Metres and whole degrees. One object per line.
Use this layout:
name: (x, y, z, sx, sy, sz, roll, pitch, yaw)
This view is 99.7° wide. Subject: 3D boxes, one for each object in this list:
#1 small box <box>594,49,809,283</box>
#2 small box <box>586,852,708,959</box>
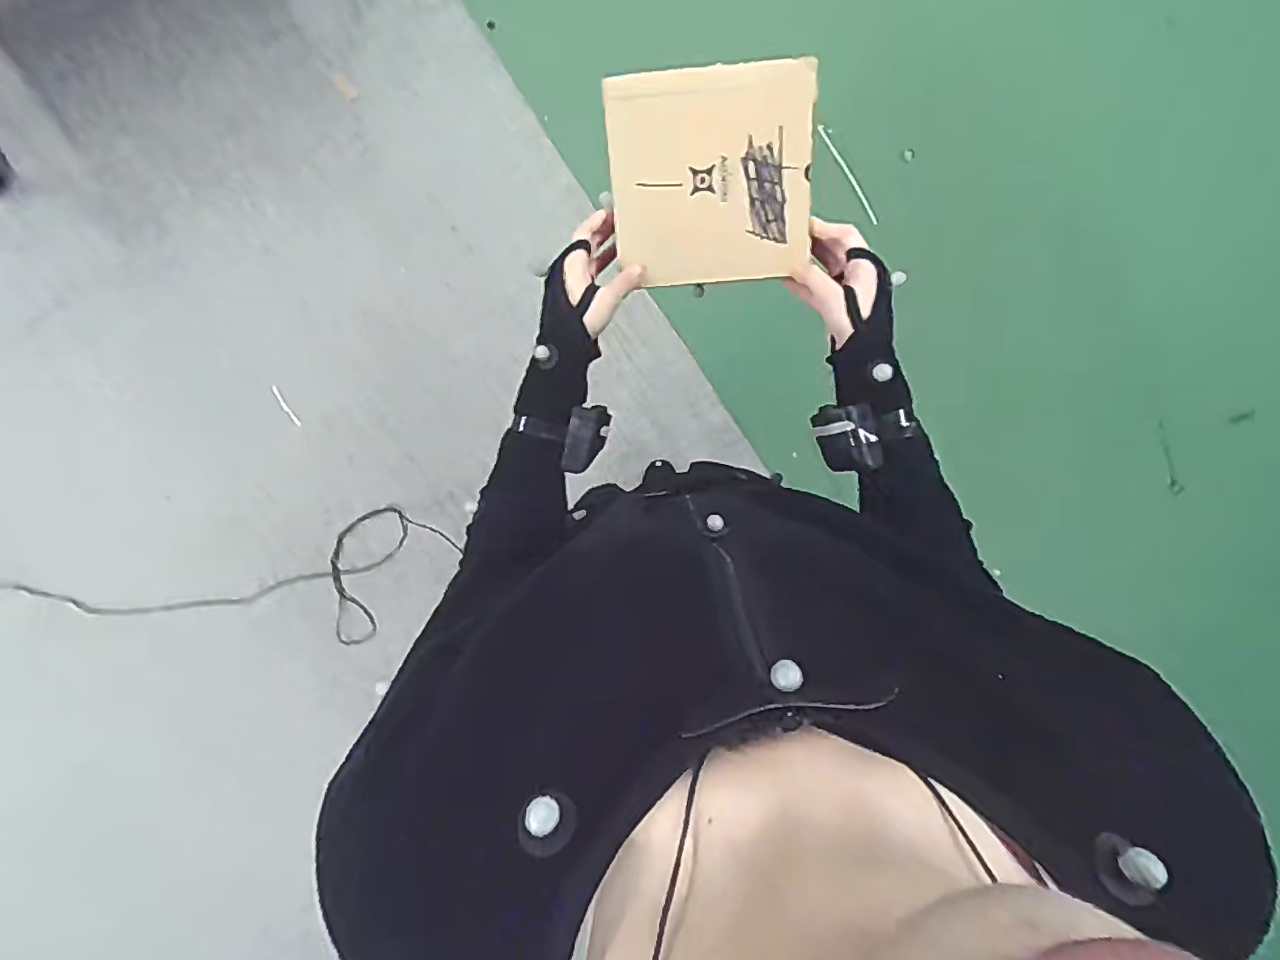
small box: (0.054, -0.290, 0.533, 0.179, 0.176, 0.168, -4, 111, 3)
small box: (0.017, 0.864, 1.021, 0.168, 0.176, 0.179, -36, 92, -1)
